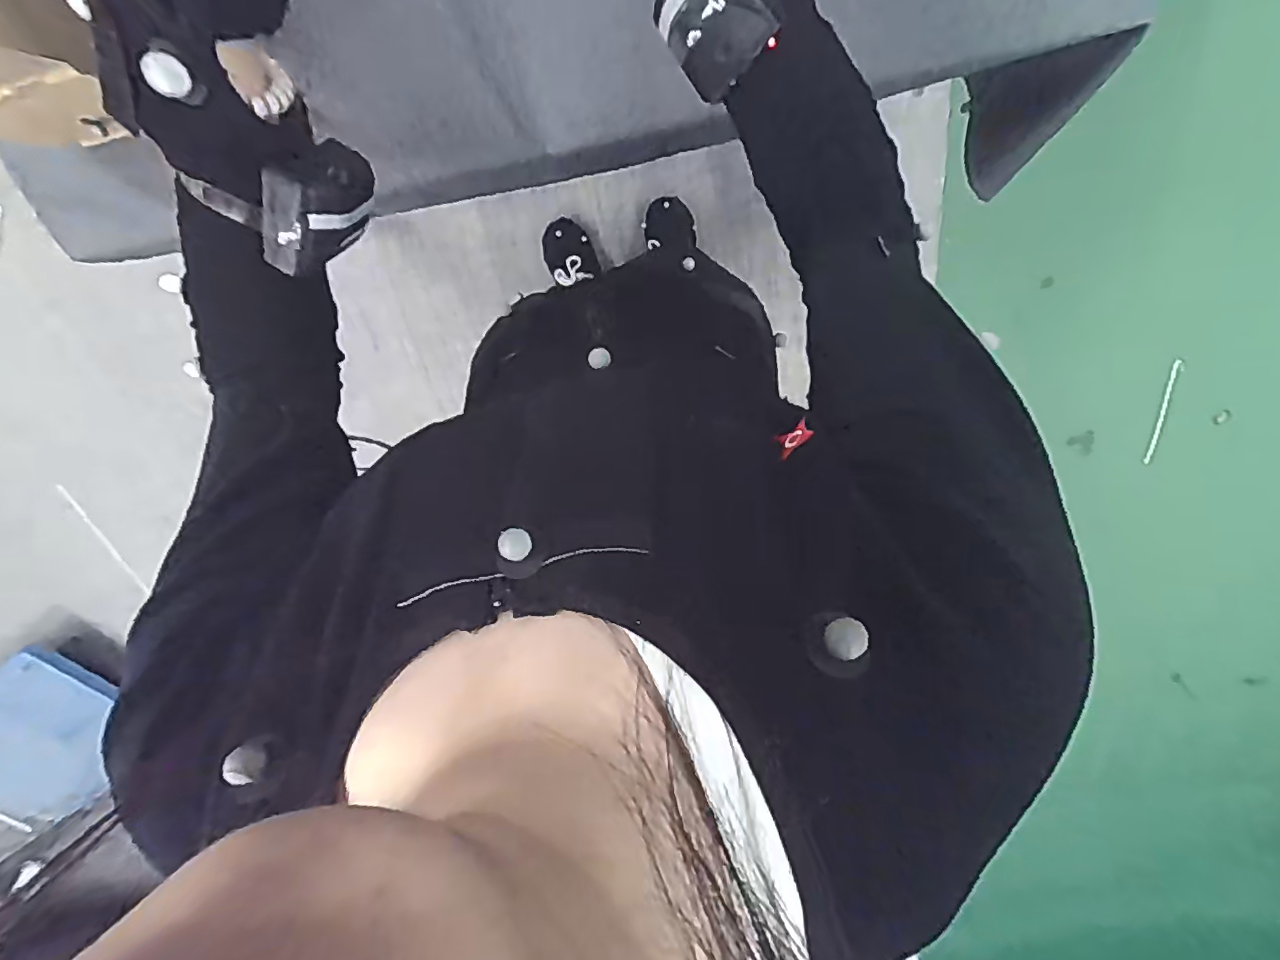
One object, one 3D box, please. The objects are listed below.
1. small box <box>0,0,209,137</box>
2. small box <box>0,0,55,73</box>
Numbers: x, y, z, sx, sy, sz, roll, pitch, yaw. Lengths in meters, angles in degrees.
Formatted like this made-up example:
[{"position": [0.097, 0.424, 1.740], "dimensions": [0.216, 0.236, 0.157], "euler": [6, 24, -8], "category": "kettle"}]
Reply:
[{"position": [-0.536, -0.416, 0.458], "dimensions": [0.168, 0.176, 0.179], "euler": [-12, 118, 5], "category": "small box"}, {"position": [-0.531, -0.344, 0.313], "dimensions": [0.168, 0.176, 0.179], "euler": [-12, 118, 4], "category": "small box"}]
